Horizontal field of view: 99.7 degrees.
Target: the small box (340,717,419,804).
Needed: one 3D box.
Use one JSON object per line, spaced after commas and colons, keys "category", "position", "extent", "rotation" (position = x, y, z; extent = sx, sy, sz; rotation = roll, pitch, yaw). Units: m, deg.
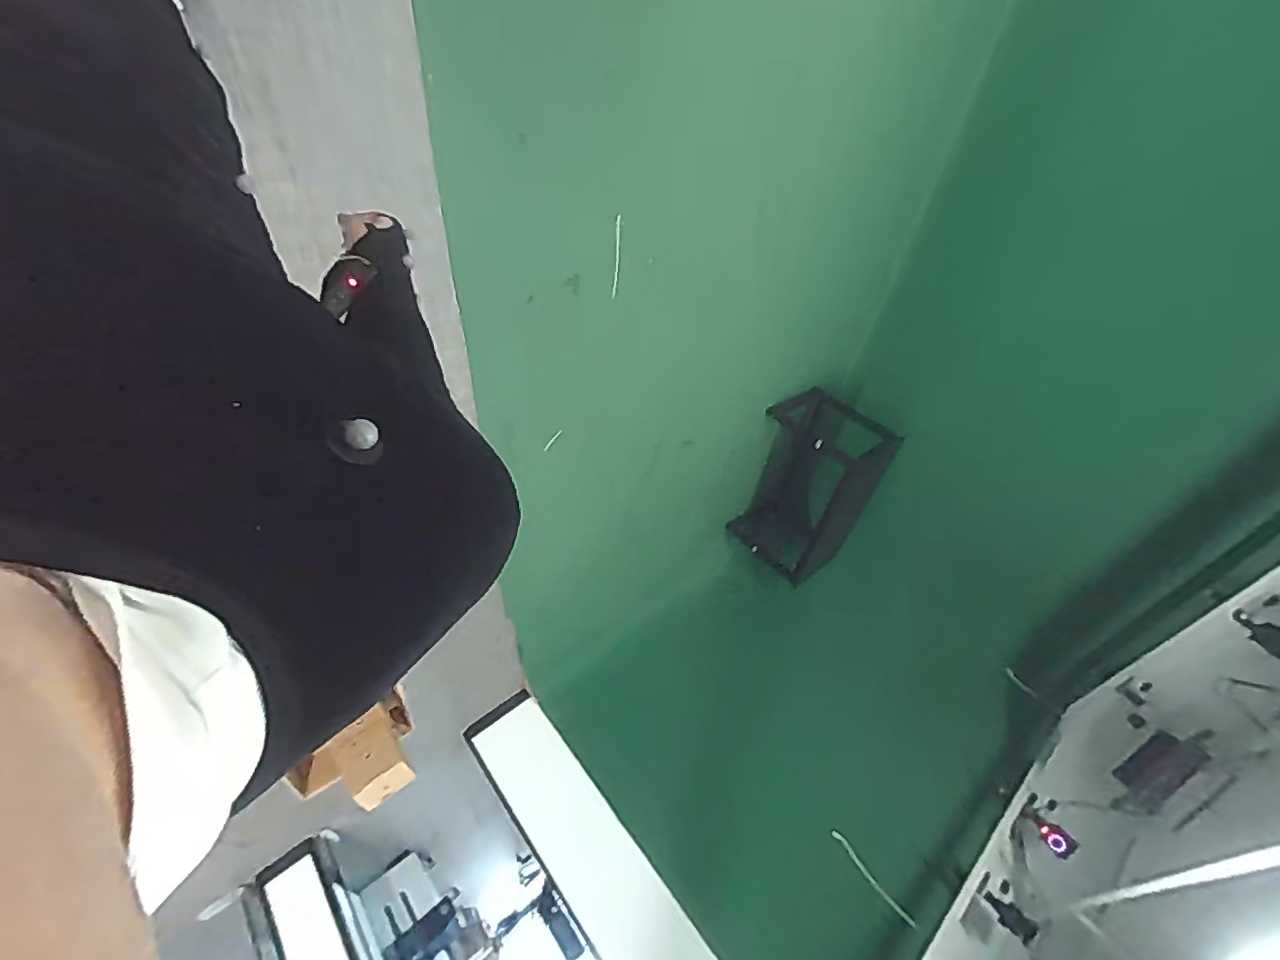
{"category": "small box", "position": [-0.868, 0.925, 1.798], "extent": [0.168, 0.176, 0.179], "rotation": [-29, 144, -27]}
